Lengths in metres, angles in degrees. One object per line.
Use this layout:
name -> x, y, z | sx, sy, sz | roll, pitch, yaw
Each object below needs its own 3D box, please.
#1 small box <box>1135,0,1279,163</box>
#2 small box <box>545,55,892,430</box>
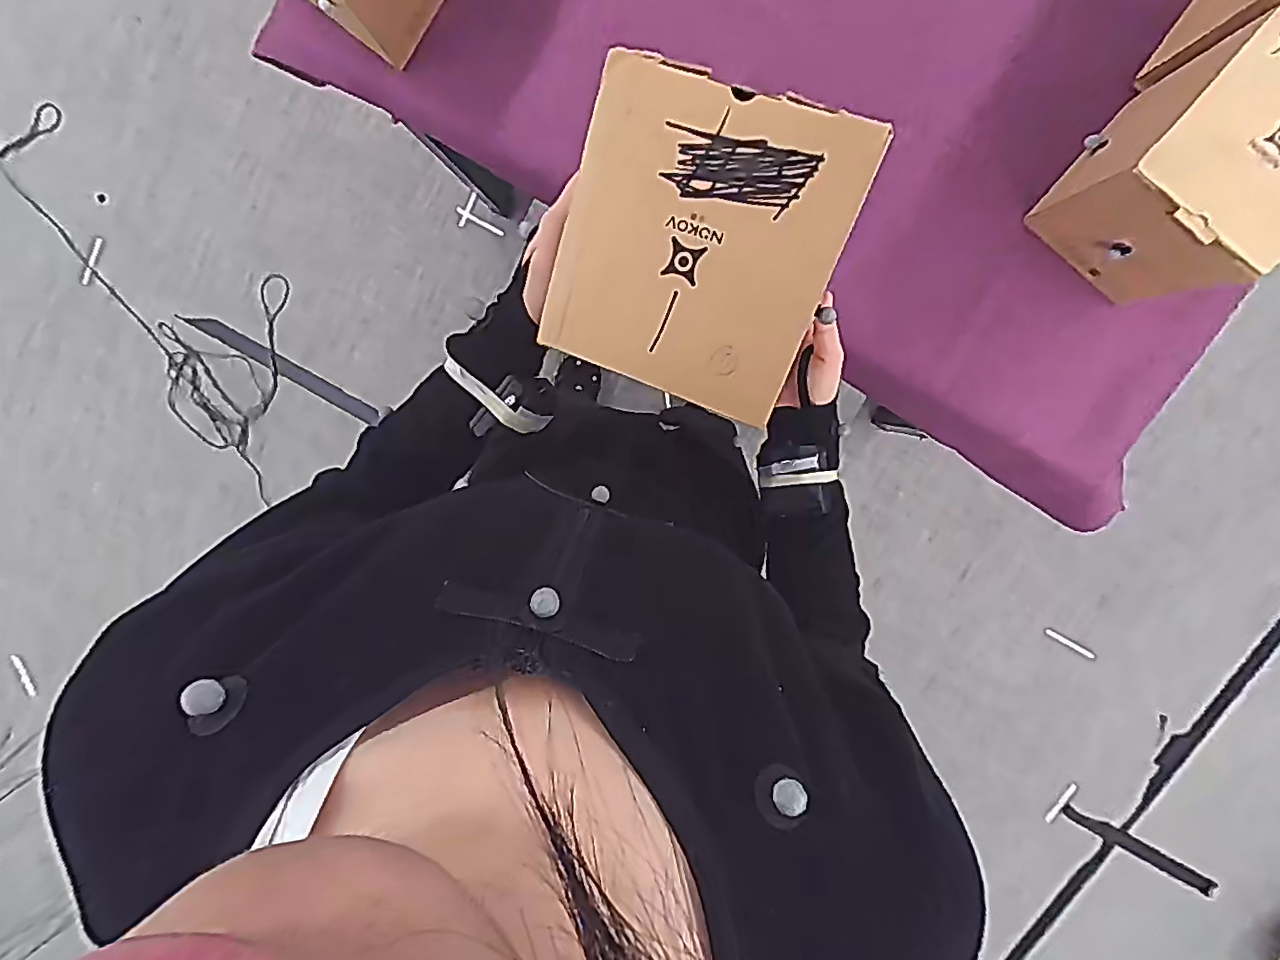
small box -> 0.680, -0.473, 0.548 | 0.168, 0.176, 0.179 | 33, 99, -3
small box -> 0.056, -0.160, 0.403 | 0.168, 0.176, 0.179 | 23, 110, 9
